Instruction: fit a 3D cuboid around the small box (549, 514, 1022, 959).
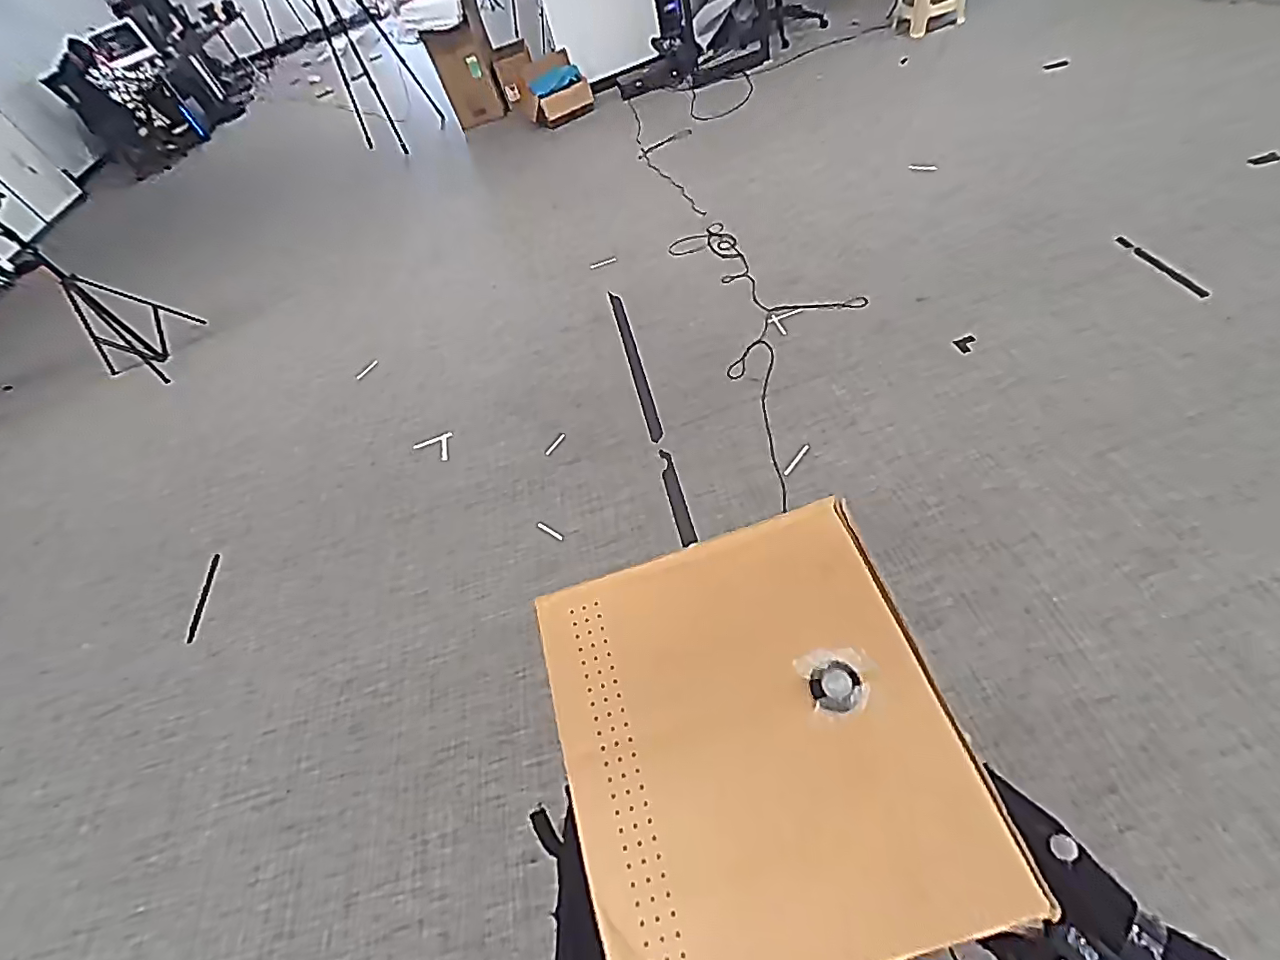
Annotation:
[{"bbox_3d":[0.059,0.151,0.315,0.176,0.168,0.179,-20,61,3],"label":"small box"}]
